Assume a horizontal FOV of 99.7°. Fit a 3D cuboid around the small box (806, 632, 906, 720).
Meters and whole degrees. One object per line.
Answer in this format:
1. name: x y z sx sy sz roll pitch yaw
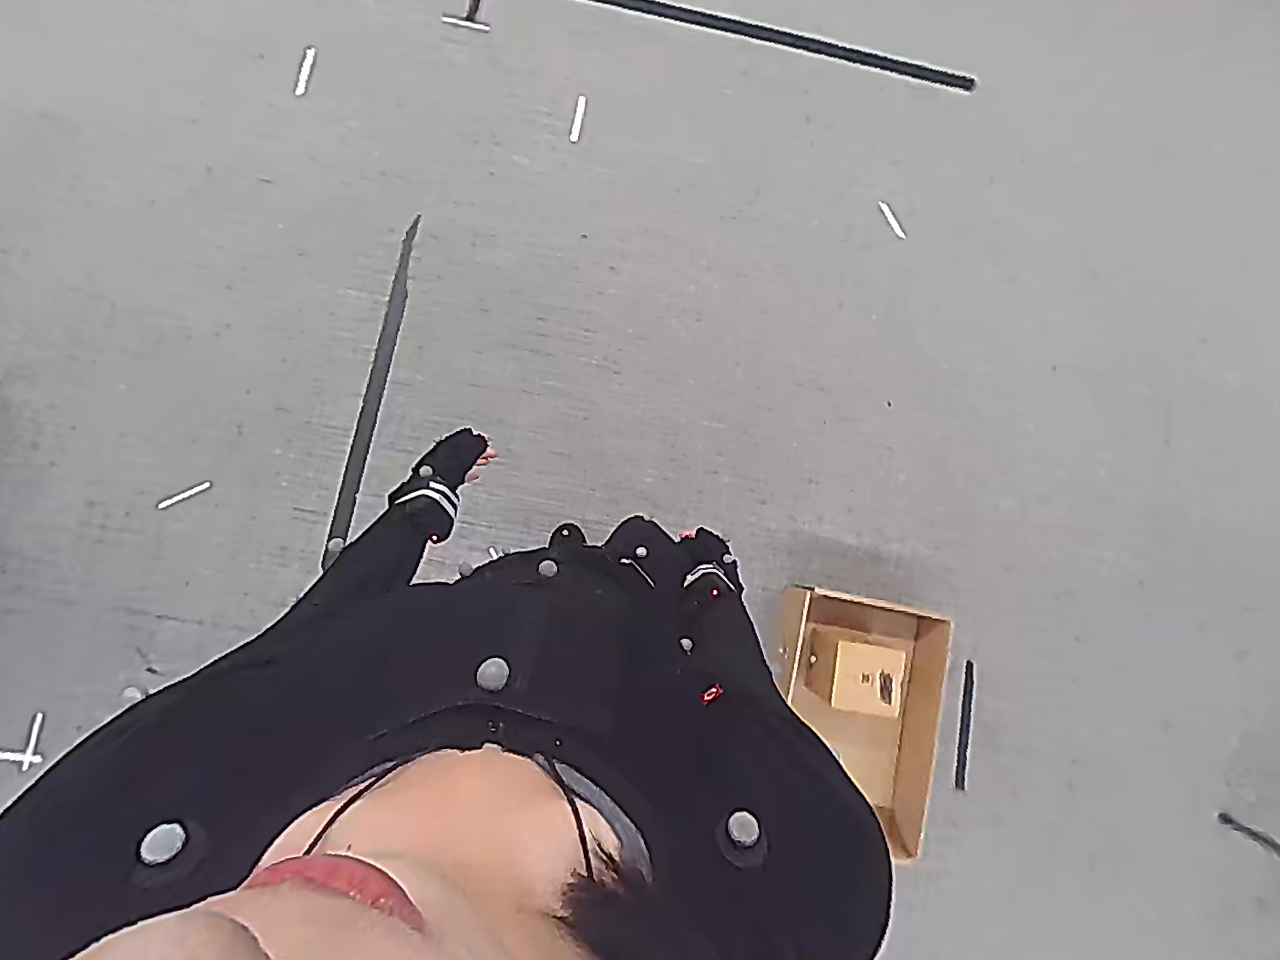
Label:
1. small box: 0.556 0.503 1.409 0.179 0.176 0.168 10 85 -3
